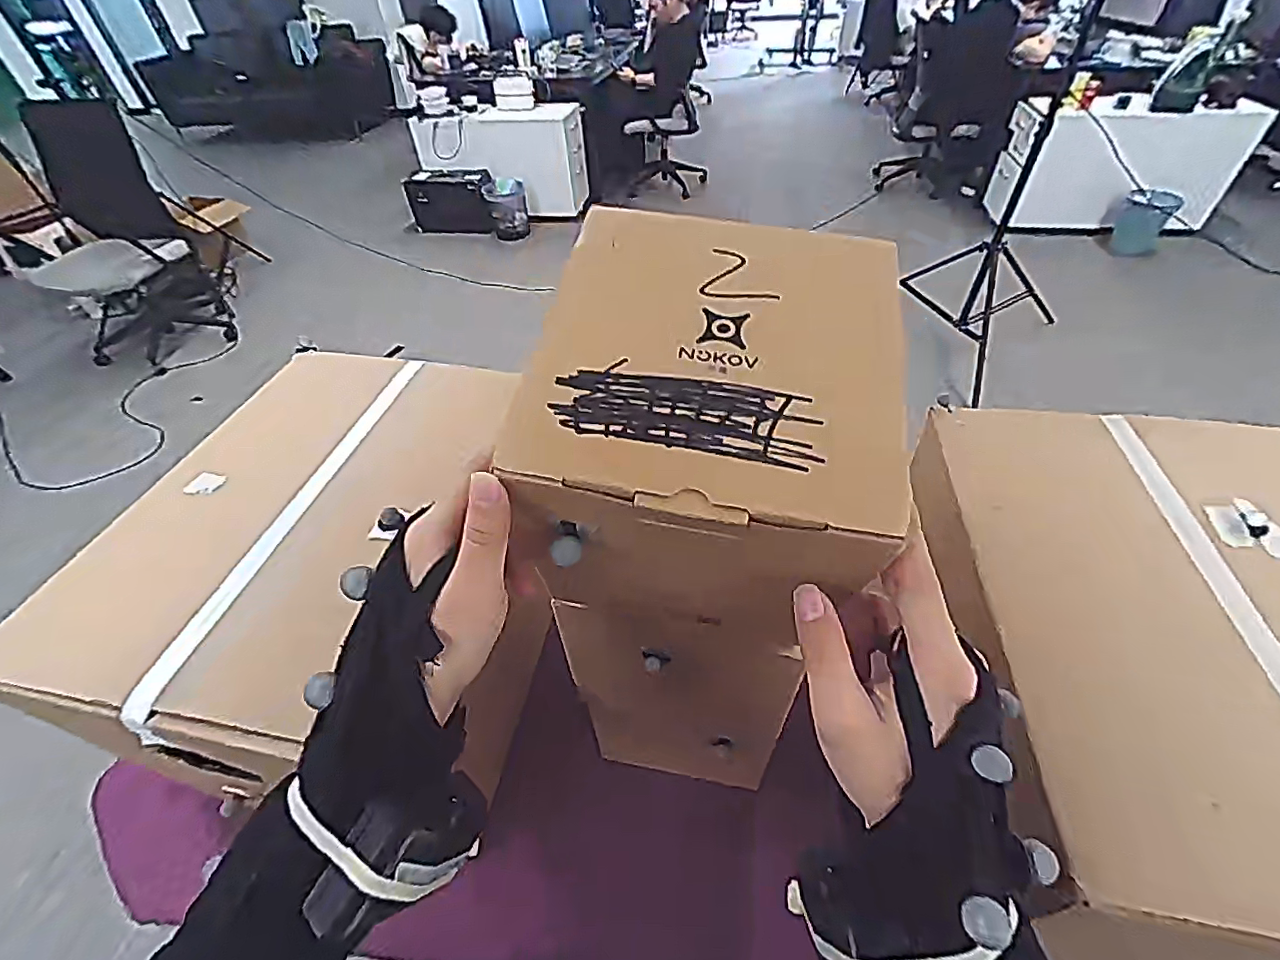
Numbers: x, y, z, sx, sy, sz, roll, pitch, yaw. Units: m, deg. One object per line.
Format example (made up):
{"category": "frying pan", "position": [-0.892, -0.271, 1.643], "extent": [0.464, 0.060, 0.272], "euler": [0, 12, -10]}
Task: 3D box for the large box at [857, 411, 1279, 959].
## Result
{"category": "large box", "position": [0.406, 0.187, 0.485], "extent": [0.320, 0.320, 0.408], "euler": [6, 45, 8]}
